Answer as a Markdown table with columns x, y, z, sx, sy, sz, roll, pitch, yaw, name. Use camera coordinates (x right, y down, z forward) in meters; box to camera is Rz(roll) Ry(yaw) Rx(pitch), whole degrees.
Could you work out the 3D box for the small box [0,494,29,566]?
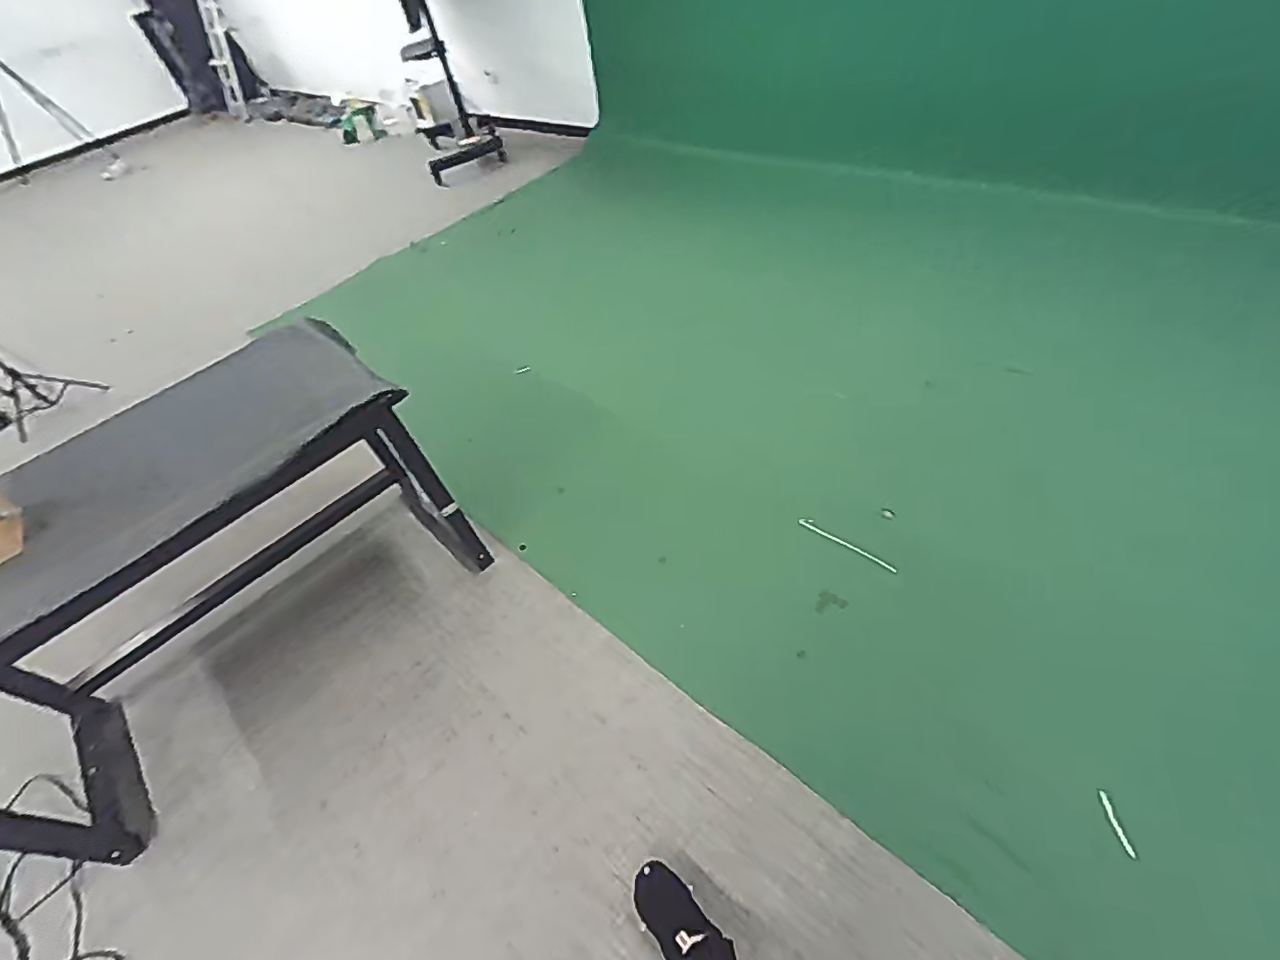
| x | y | z | sx | sy | sz | roll | pitch | yaw | name |
| --- | --- | --- | --- | --- | --- | --- | --- | --- | --- |
| -1.386 | 0.103 | 1.067 | 0.179 | 0.176 | 0.168 | -38 | 53 | -23 | small box |
